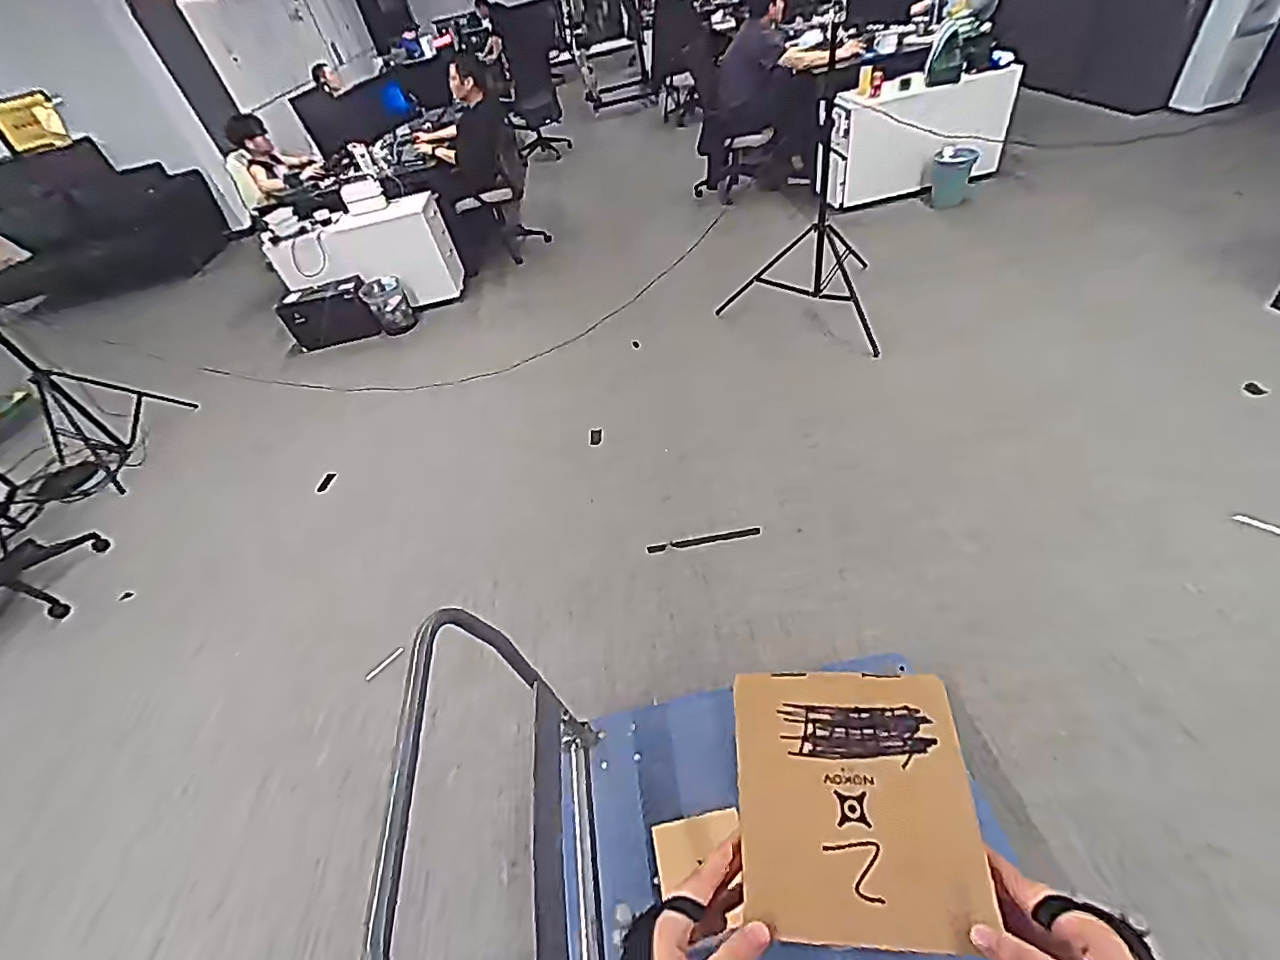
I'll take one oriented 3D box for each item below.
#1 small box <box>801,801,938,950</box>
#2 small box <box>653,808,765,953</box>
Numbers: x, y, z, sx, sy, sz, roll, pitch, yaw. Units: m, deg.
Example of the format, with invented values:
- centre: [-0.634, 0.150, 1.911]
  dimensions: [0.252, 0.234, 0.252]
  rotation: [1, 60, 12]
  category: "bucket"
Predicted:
- centre: [0.397, 0.713, 0.974]
  dimensions: [0.168, 0.176, 0.179]
  rotation: [-13, 44, 1]
  category: "small box"
- centre: [0.128, 0.747, 1.007]
  dimensions: [0.168, 0.176, 0.179]
  rotation: [-14, 44, 1]
  category: "small box"
